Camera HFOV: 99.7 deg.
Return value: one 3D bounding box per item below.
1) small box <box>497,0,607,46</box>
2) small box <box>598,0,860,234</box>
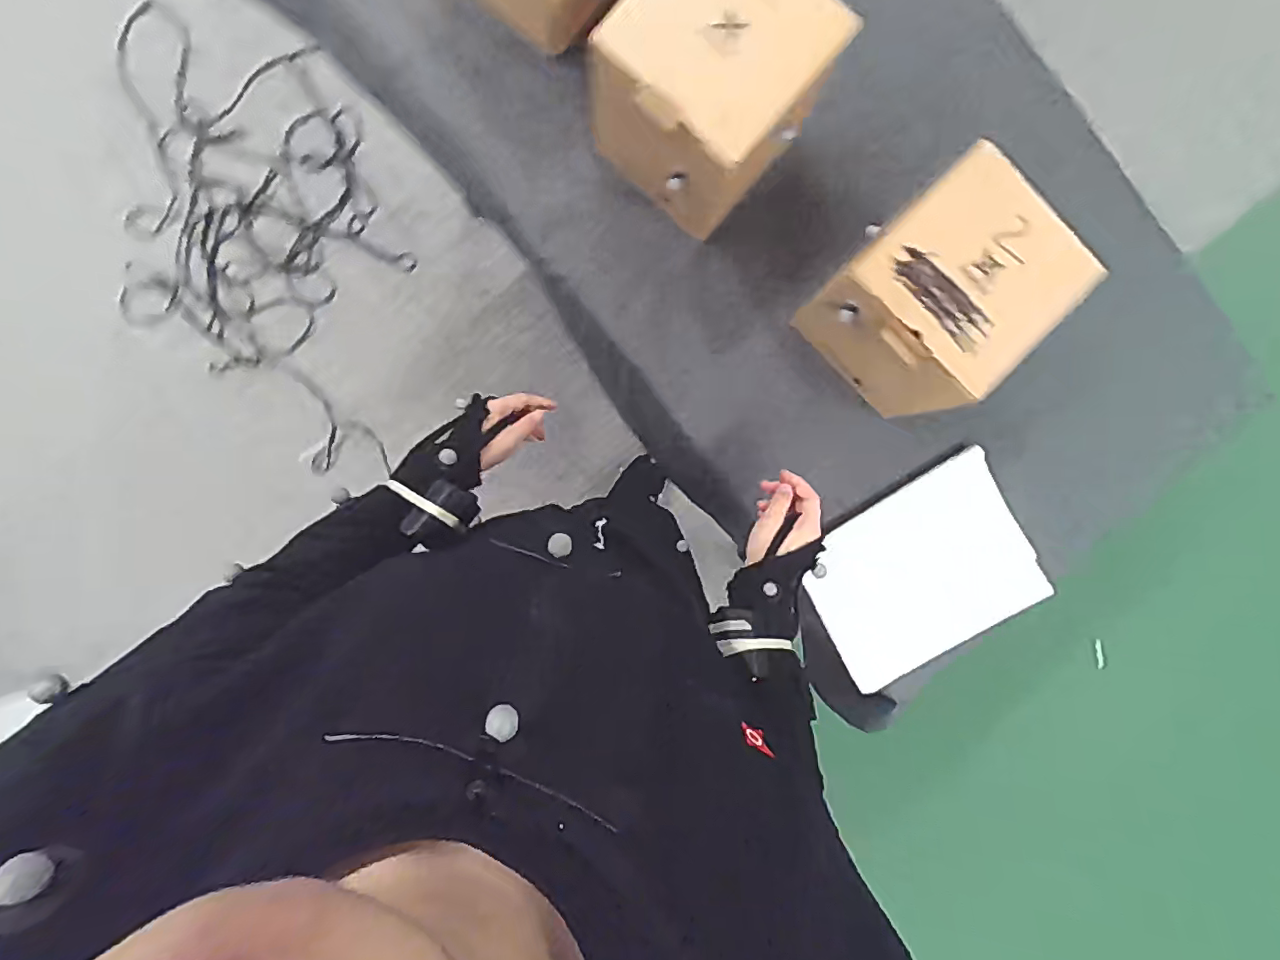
[{"bbox_3d":[-0.104,-0.597,0.534,0.179,0.176,0.168,39,89,-5],"label":"small box"},{"bbox_3d":[0.076,-0.392,0.550,0.168,0.176,0.179,41,88,-5],"label":"small box"}]
